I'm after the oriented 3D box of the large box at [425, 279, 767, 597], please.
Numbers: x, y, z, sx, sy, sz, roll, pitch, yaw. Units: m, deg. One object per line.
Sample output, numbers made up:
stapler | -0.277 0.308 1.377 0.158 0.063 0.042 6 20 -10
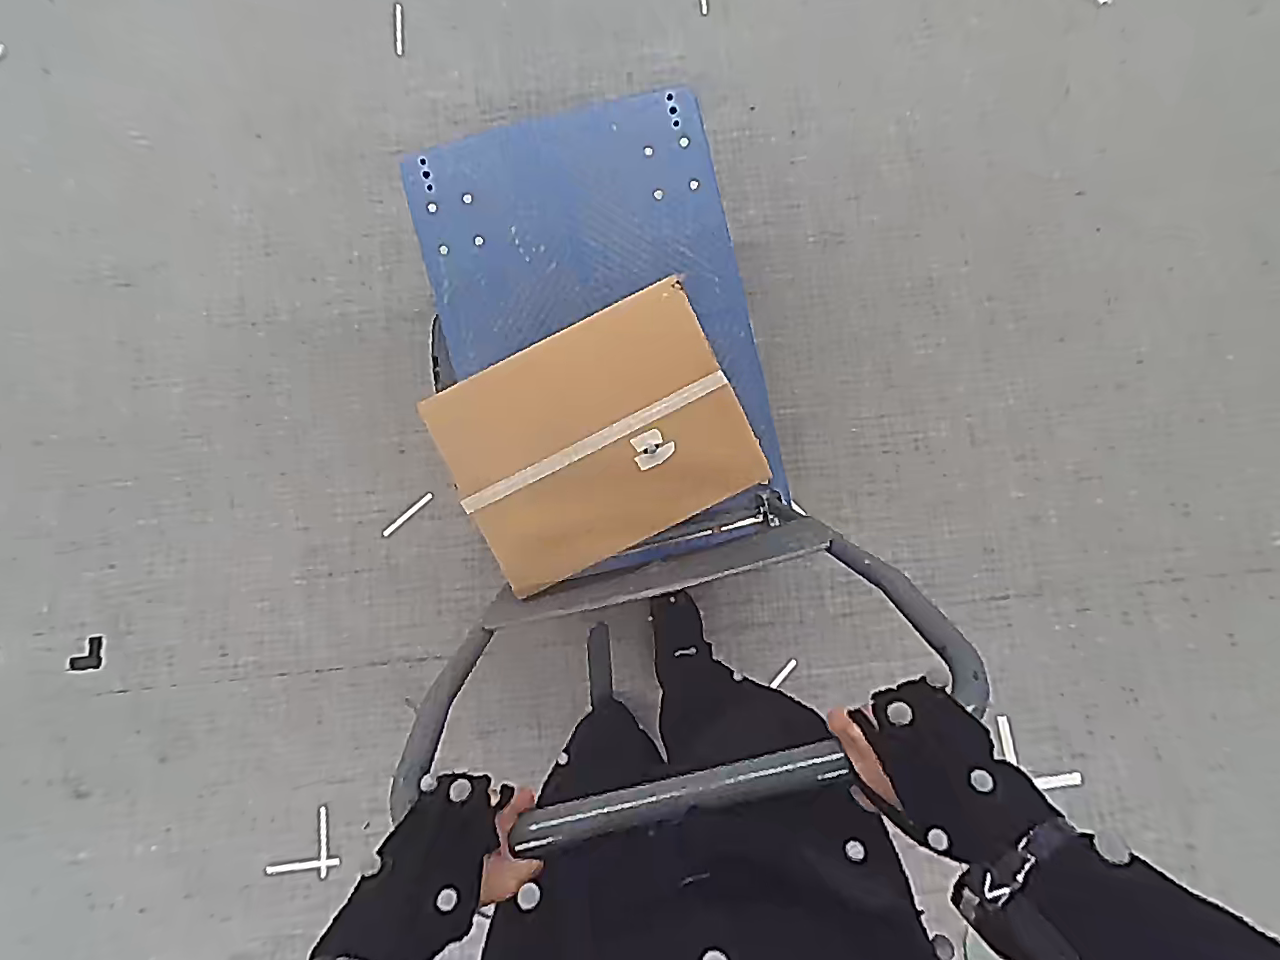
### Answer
large box | -0.064 -0.061 0.909 0.408 0.320 0.320 -27 94 0
